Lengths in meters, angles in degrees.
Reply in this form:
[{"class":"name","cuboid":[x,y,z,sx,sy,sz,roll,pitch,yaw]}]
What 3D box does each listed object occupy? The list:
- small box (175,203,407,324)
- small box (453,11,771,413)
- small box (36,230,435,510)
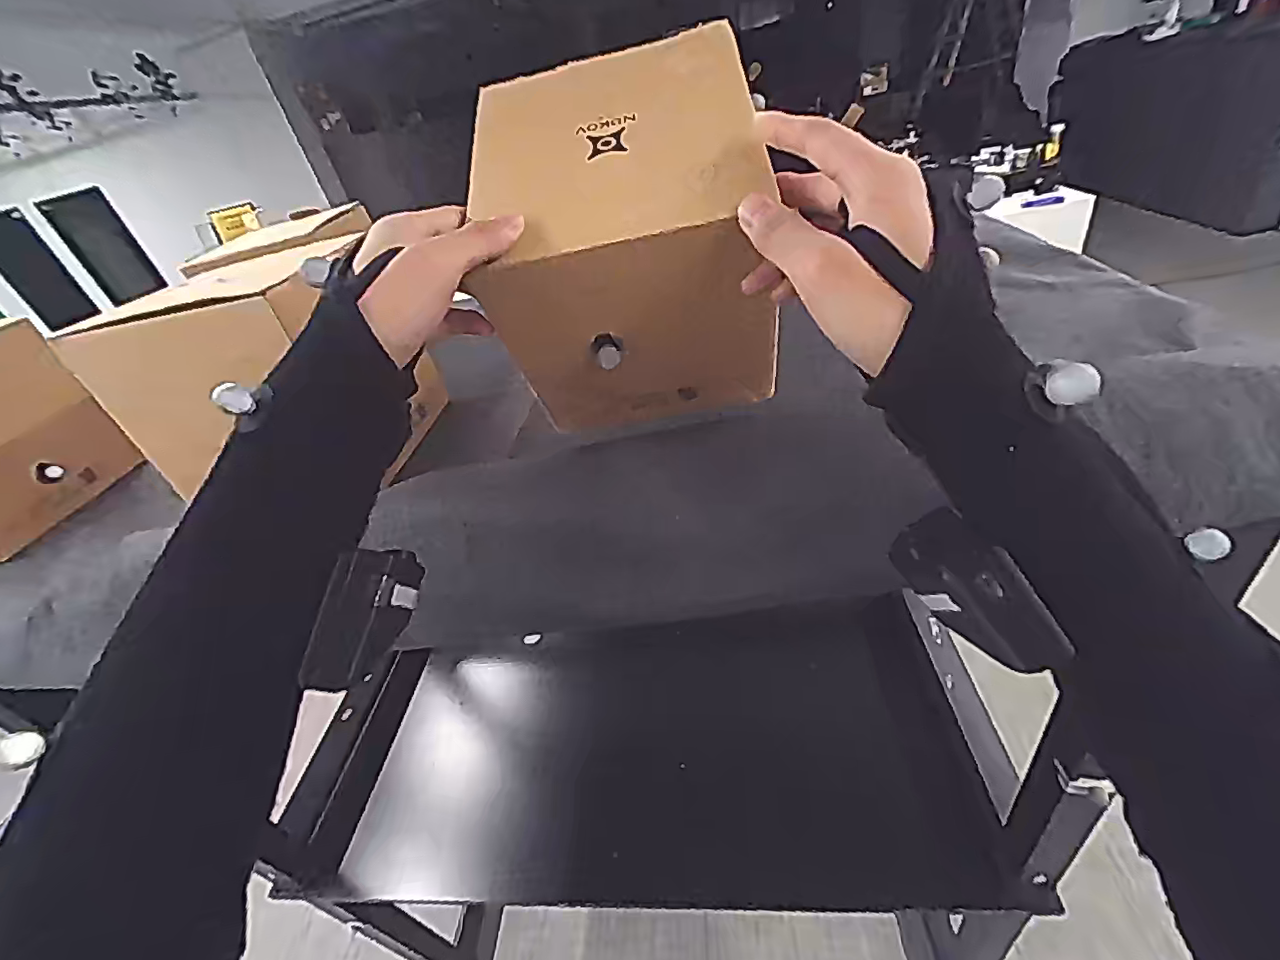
[{"class":"small box","cuboid":[-0.440,-0.249,0.723,0.168,0.176,0.179,-13,35,5]},{"class":"small box","cuboid":[-0.006,-0.162,0.371,0.168,0.176,0.179,-9,60,8]},{"class":"small box","cuboid":[-0.306,-0.093,0.462,0.179,0.176,0.168,-7,35,8]}]
